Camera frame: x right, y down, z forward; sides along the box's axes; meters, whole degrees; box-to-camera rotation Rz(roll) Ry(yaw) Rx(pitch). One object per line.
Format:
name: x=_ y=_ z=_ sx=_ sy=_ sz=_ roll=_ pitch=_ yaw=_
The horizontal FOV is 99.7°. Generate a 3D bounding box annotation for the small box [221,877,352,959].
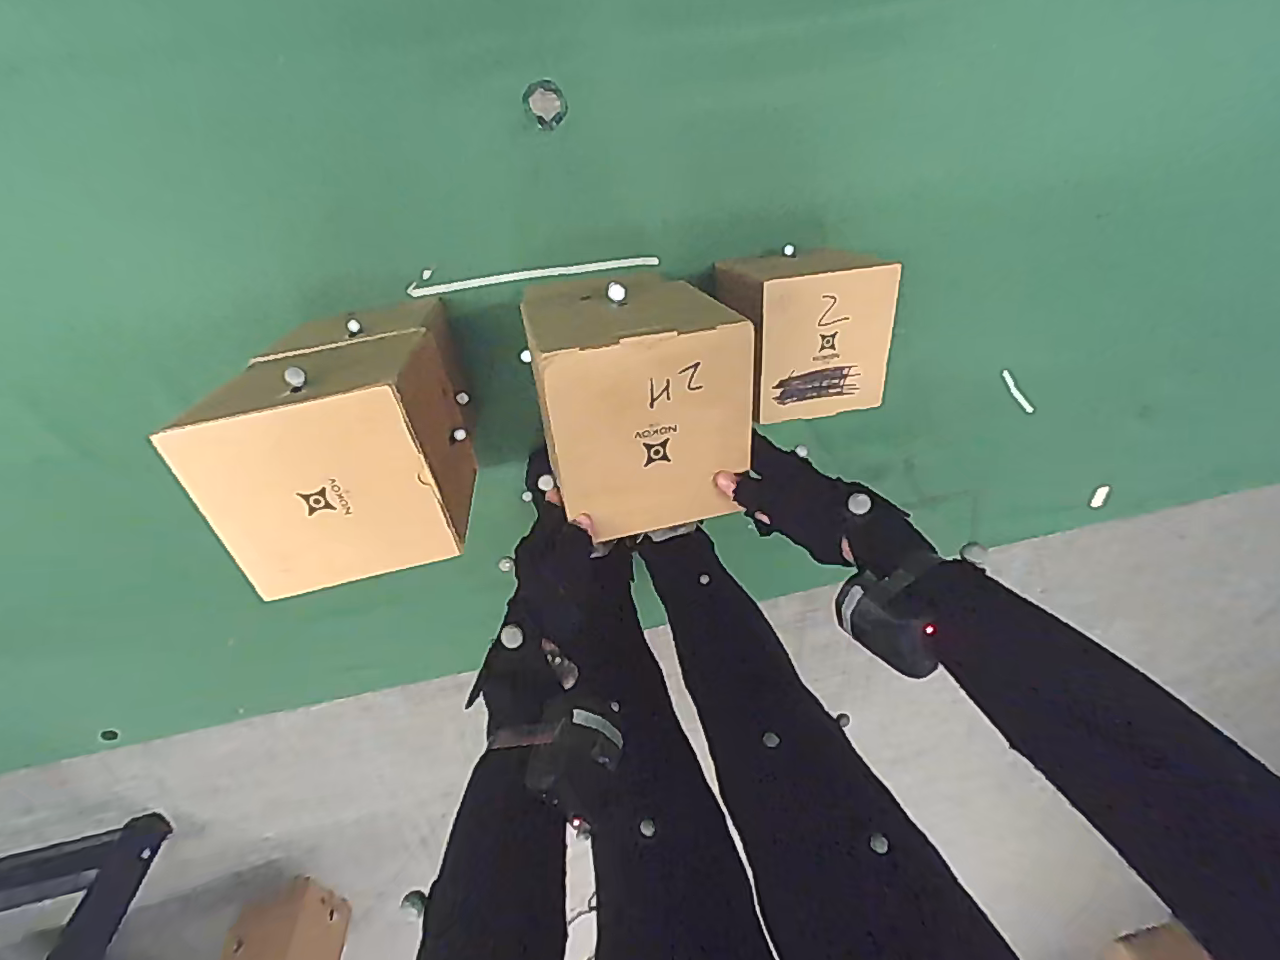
small box: x=-0.765 y=1.009 z=1.171 sx=0.179 sy=0.176 sz=0.168 roll=-21 pitch=122 yaw=1

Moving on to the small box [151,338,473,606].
small box: x=-0.267 y=-0.017 z=0.497 sx=0.179 sy=0.176 sz=0.168 roll=-13 pitch=121 yaw=-5
